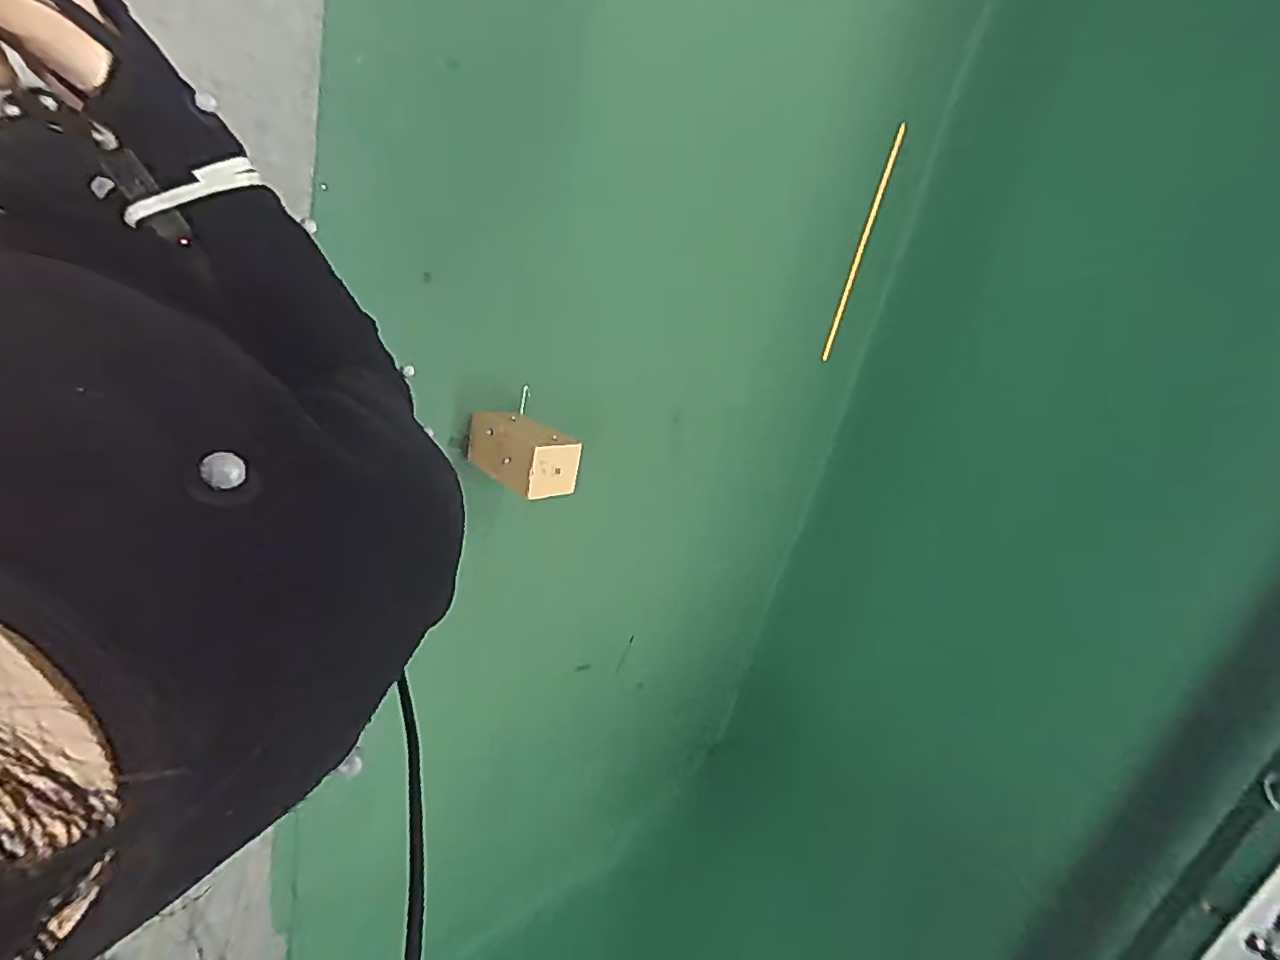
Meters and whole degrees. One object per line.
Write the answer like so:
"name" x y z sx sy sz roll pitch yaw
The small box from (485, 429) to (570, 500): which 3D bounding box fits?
"small box" -0.344 -0.053 1.642 0.179 0.176 0.168 -8 117 -47
